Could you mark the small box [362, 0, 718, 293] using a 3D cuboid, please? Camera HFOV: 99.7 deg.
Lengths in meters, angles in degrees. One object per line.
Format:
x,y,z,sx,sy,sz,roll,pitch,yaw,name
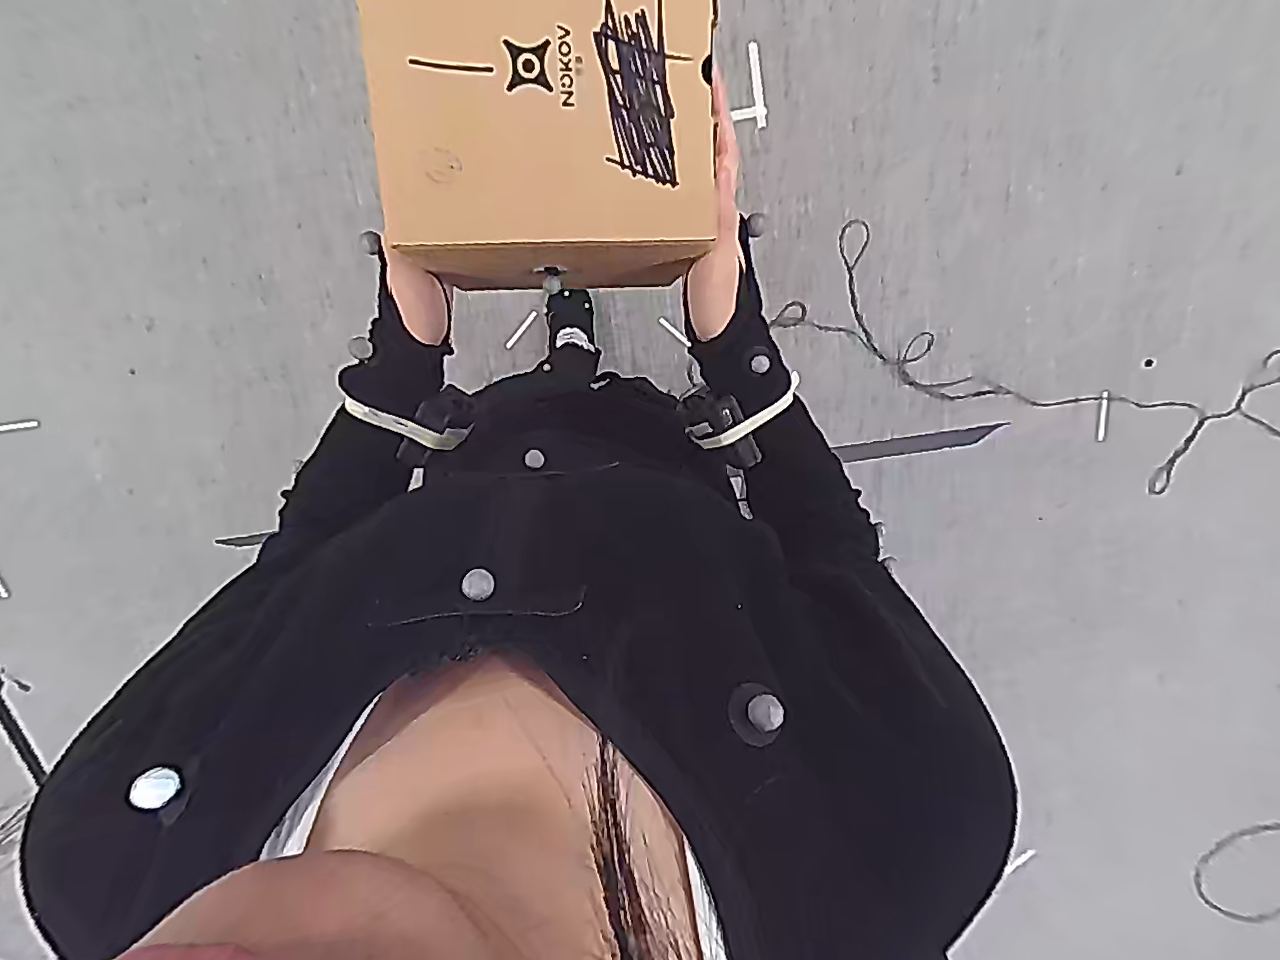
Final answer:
-0.054,-0.219,0.350,0.179,0.176,0.168,-3,101,-4,small box
